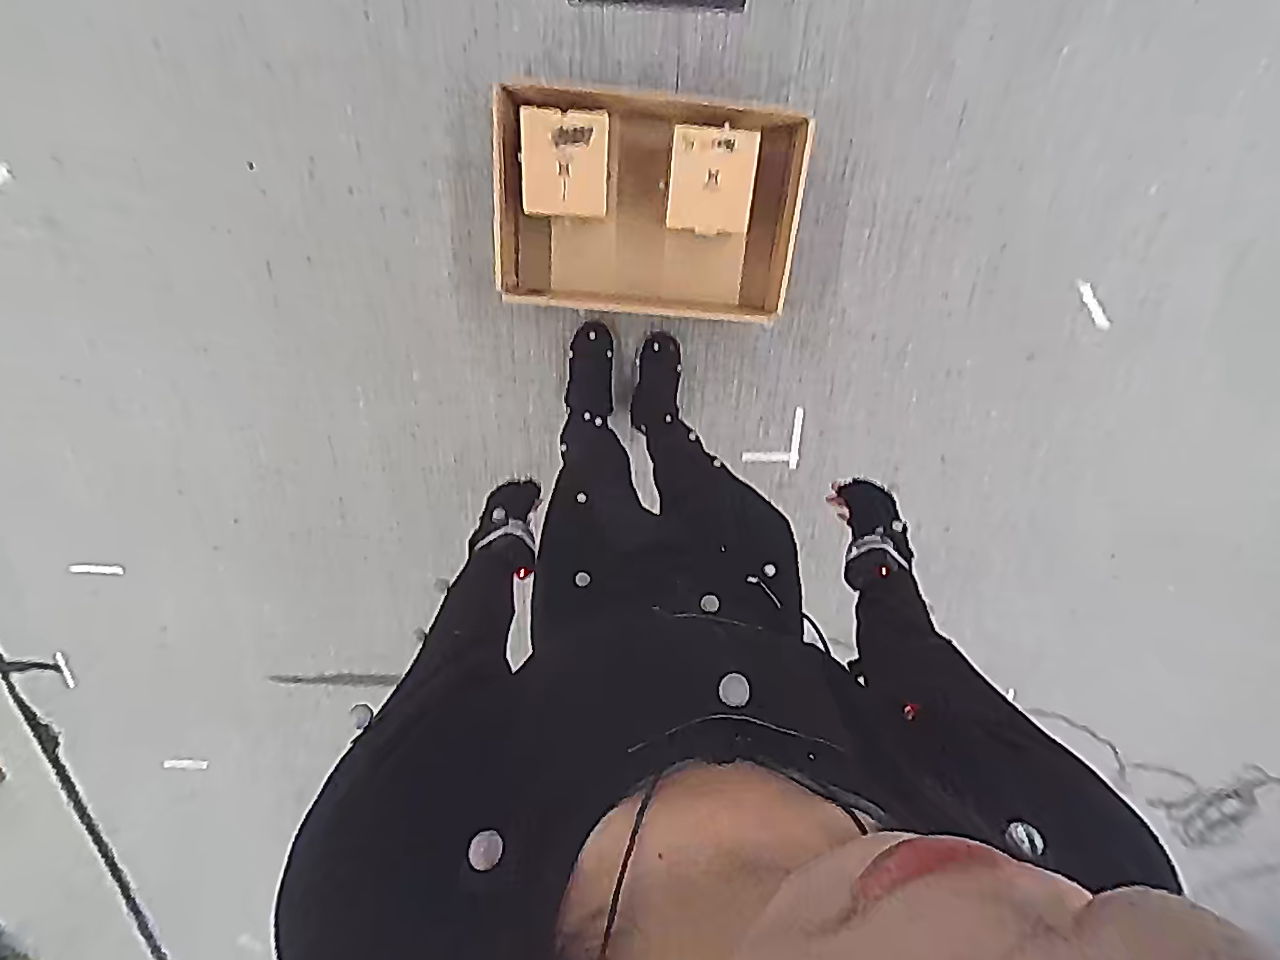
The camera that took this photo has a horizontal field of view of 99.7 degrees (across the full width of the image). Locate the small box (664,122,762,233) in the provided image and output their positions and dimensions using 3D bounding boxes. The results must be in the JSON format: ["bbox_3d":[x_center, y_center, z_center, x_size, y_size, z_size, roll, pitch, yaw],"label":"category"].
[{"bbox_3d":[0.140,-0.614,1.113,0.168,0.176,0.179,4,115,-3],"label":"small box"}]
